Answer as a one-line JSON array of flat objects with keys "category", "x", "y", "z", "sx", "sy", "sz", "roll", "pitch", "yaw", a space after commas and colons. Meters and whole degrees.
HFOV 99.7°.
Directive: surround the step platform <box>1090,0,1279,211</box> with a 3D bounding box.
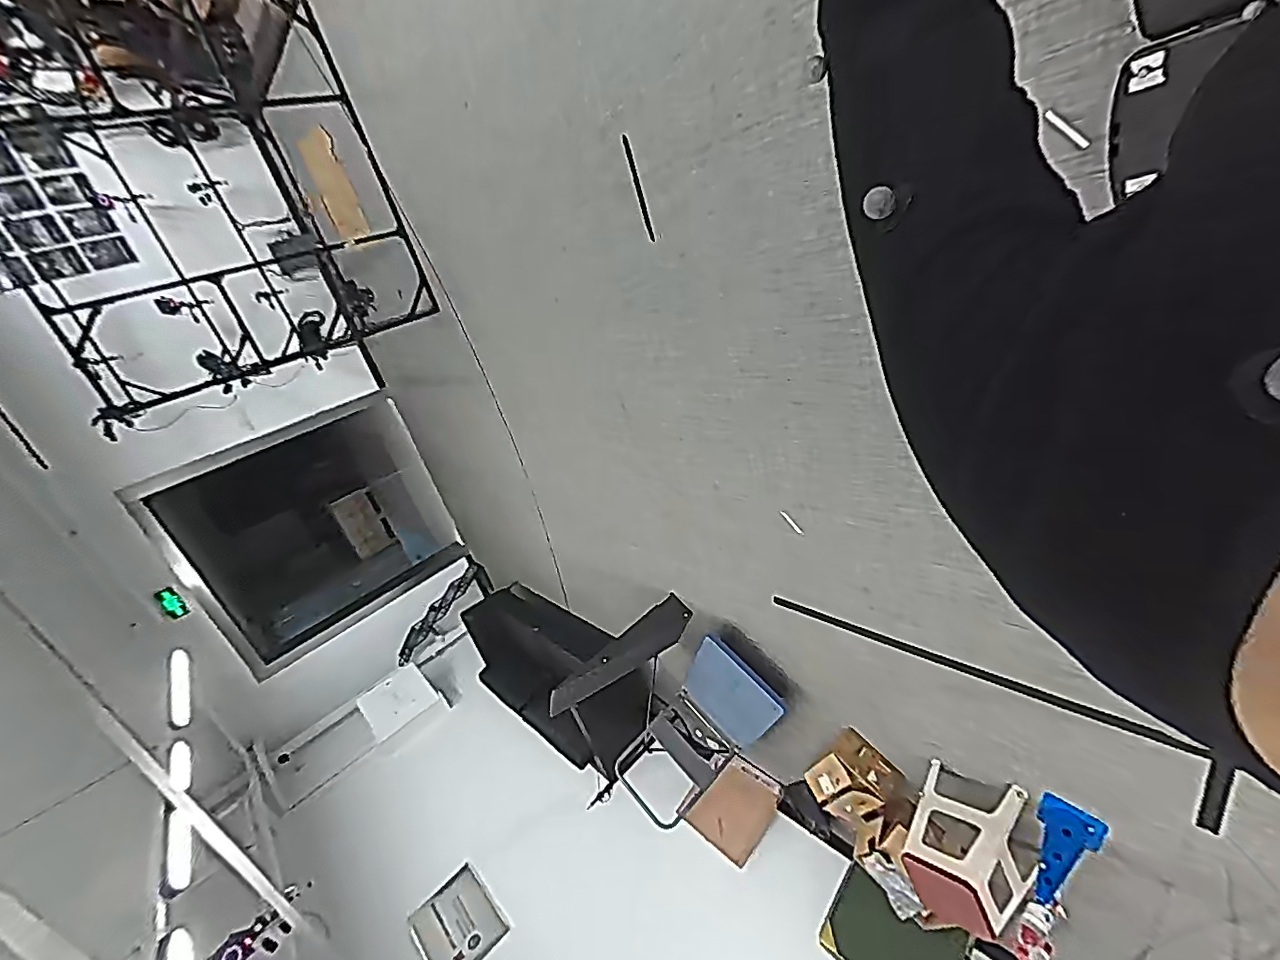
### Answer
[{"category": "step platform", "x": 1.159, "y": -0.662, "z": 0.858, "sx": 0.684, "sy": 0.204, "sz": 0.286, "roll": 11, "pitch": 127, "yaw": 51}]
